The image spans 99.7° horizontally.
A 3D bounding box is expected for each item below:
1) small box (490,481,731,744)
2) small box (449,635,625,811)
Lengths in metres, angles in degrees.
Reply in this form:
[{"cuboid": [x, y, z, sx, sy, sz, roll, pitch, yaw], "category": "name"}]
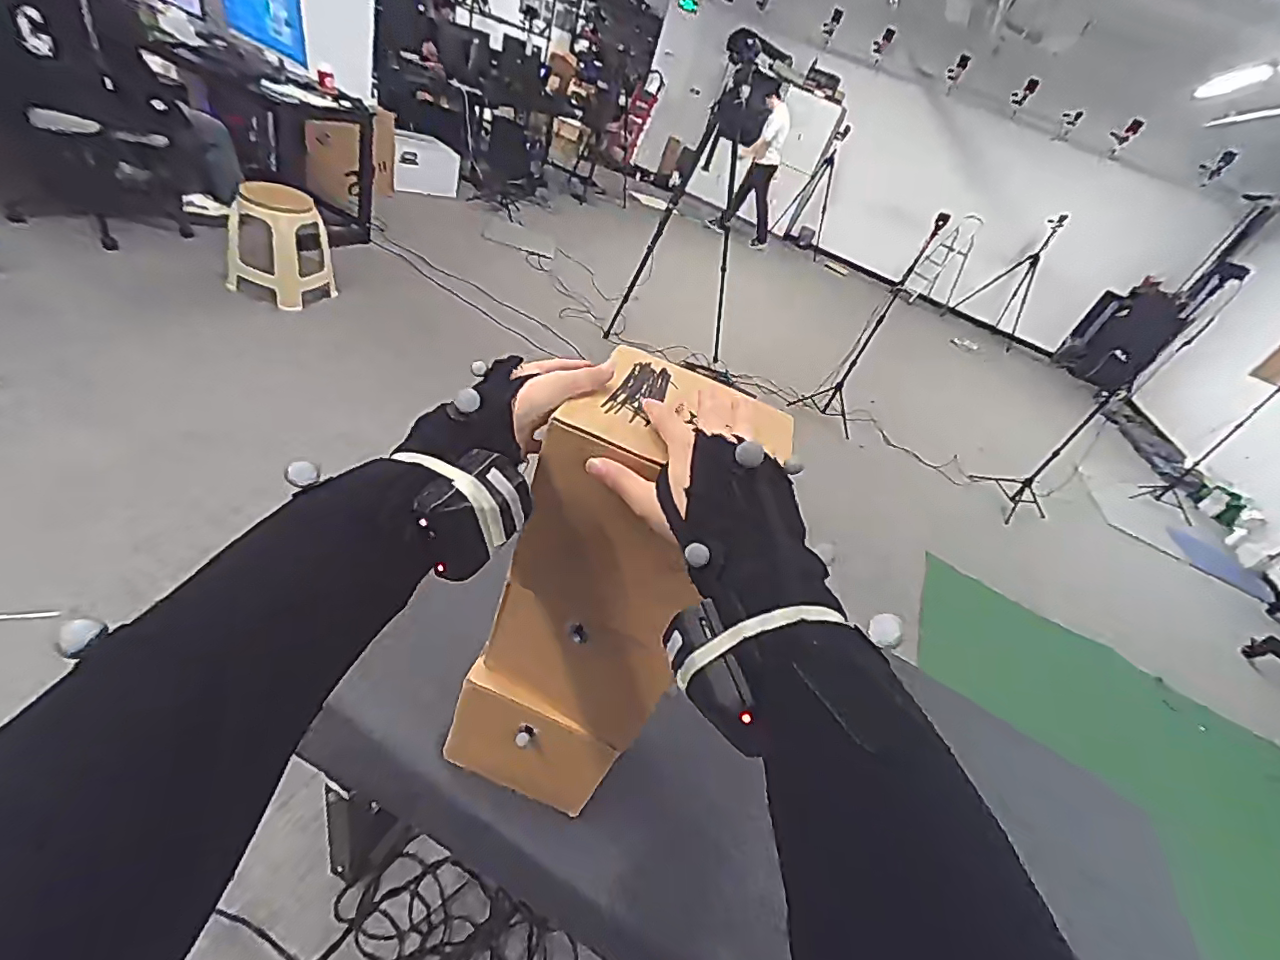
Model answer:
[{"cuboid": [-0.034, 0.137, 0.568, 0.179, 0.176, 0.168, 29, 35, 9], "category": "small box"}, {"cuboid": [-0.104, 0.260, 0.649, 0.179, 0.176, 0.168, 24, 34, 2], "category": "small box"}]
